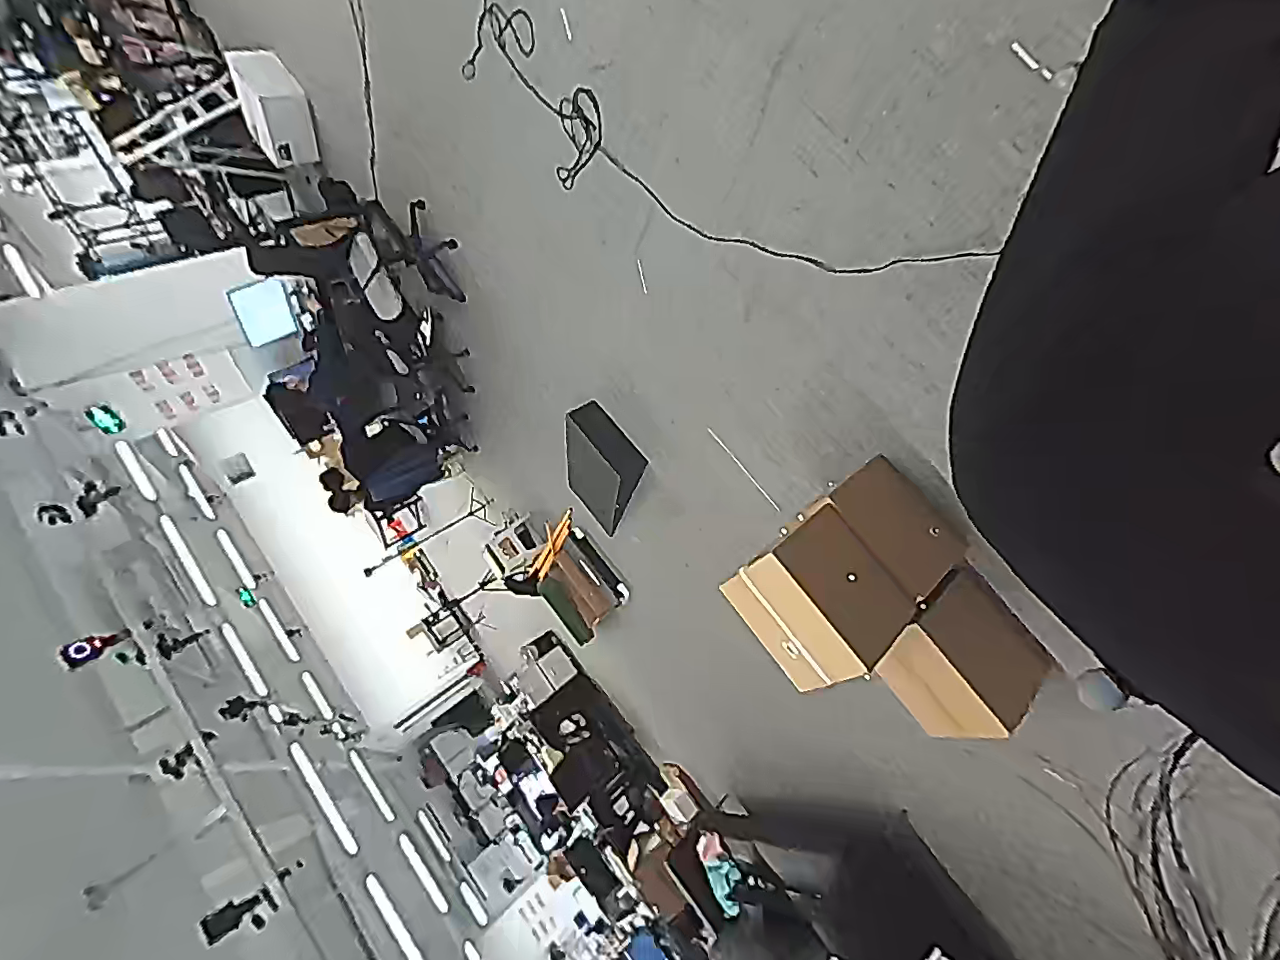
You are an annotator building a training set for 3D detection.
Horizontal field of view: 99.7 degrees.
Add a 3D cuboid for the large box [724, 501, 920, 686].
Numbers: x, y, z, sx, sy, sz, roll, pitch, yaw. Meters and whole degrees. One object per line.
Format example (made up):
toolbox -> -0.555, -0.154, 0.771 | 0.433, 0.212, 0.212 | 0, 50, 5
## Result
large box -> 0.545, 0.343, 1.650 | 0.408, 0.320, 0.320 | 51, 146, 10
